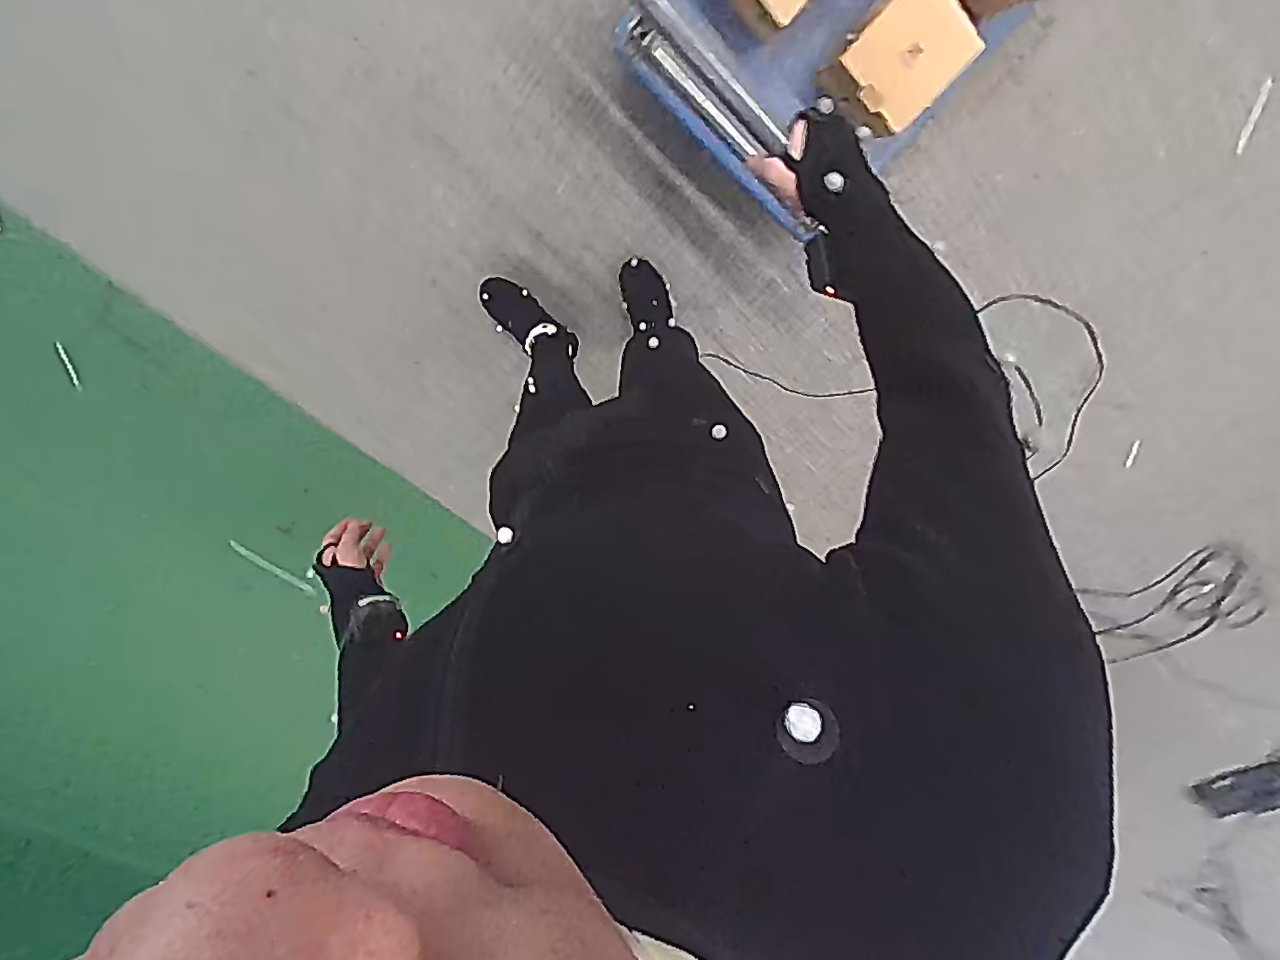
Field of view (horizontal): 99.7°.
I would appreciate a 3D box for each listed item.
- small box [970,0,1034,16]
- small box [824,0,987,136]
[{"bbox_3d":[0.633,-0.914,0.875,0.168,0.176,0.179,35,116,-17],"label":"small box"},{"bbox_3d":[0.464,-0.759,0.974,0.168,0.176,0.179,38,115,-20],"label":"small box"}]
